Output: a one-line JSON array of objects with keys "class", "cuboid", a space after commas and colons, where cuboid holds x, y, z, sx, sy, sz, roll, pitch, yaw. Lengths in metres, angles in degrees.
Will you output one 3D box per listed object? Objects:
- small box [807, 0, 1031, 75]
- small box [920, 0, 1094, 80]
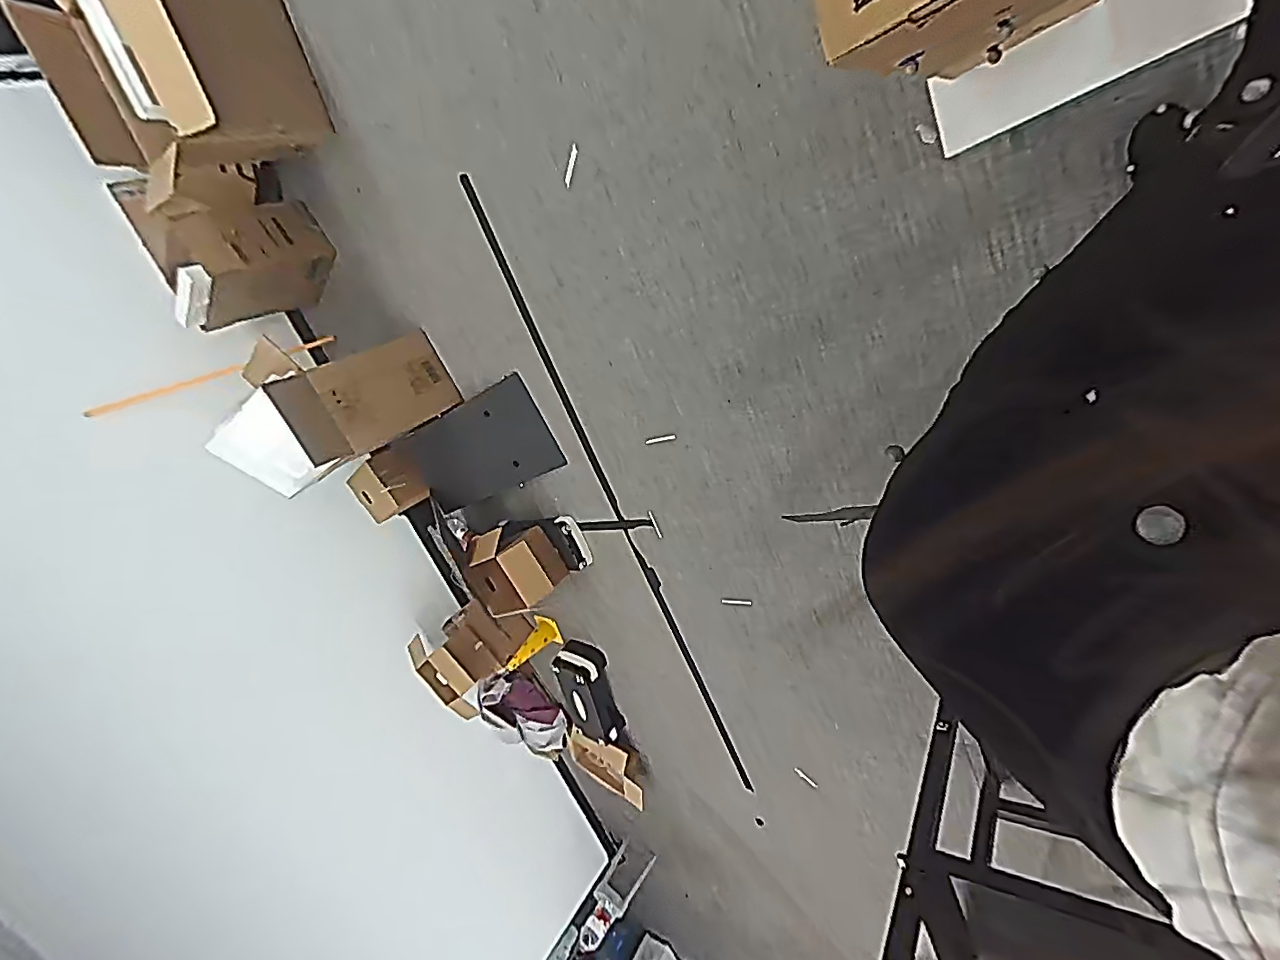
[{"class": "small box", "cuboid": [0.222, -0.438, 0.401, 0.168, 0.176, 0.179, -4, 114, 41]}, {"class": "small box", "cuboid": [0.411, -0.598, 0.618, 0.168, 0.176, 0.179, -8, 112, 42]}]
